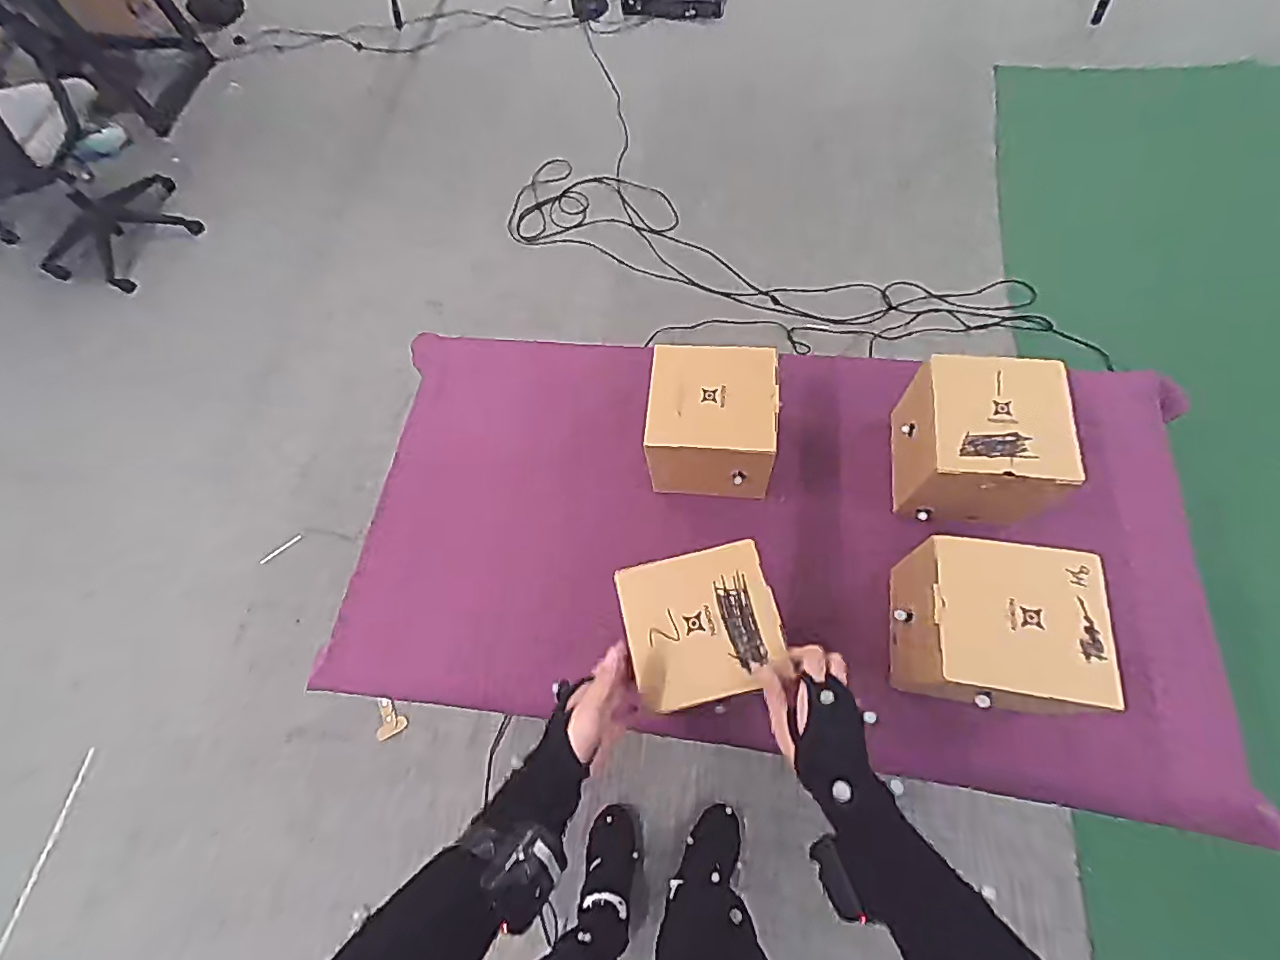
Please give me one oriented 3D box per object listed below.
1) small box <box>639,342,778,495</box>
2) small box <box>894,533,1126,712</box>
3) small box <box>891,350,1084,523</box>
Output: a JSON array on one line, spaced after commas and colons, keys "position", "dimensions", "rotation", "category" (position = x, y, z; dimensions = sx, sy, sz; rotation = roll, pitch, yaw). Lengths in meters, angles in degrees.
[{"position": [0.103, -0.084, 0.799], "dimensions": [0.179, 0.176, 0.168], "rotation": [4, 67, 9], "category": "small box"}, {"position": [0.416, 0.176, 0.646], "dimensions": [0.179, 0.176, 0.168], "rotation": [7, 67, 10], "category": "small box"}, {"position": [0.456, -0.053, 0.741], "dimensions": [0.168, 0.176, 0.179], "rotation": [6, 66, 9], "category": "small box"}]
